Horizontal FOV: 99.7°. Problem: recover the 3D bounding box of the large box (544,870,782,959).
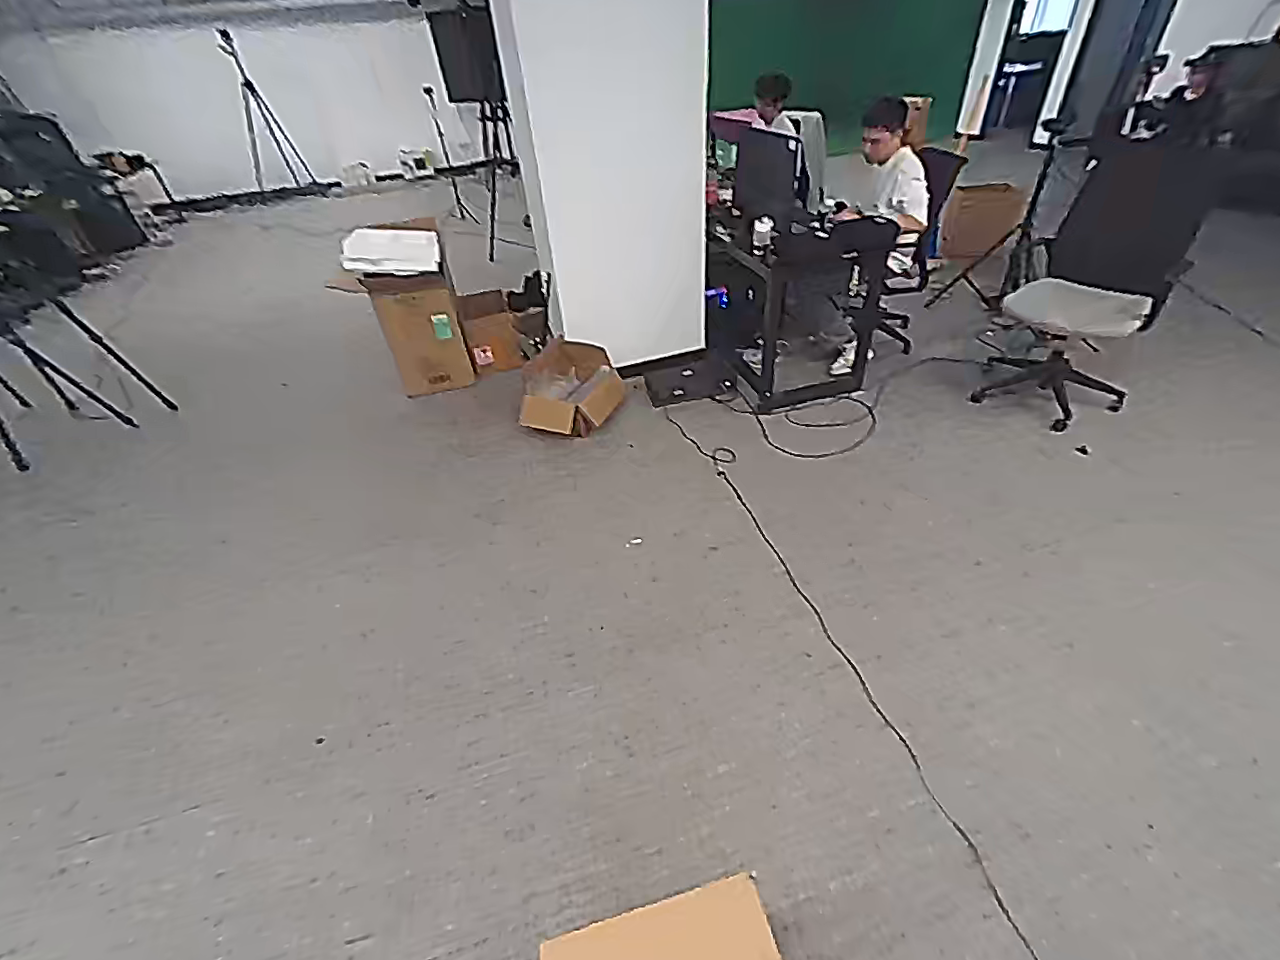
[{"bbox_3d":[0.067,0.993,0.970,0.408,0.320,0.320,-12,39,-10],"label":"large box"}]
